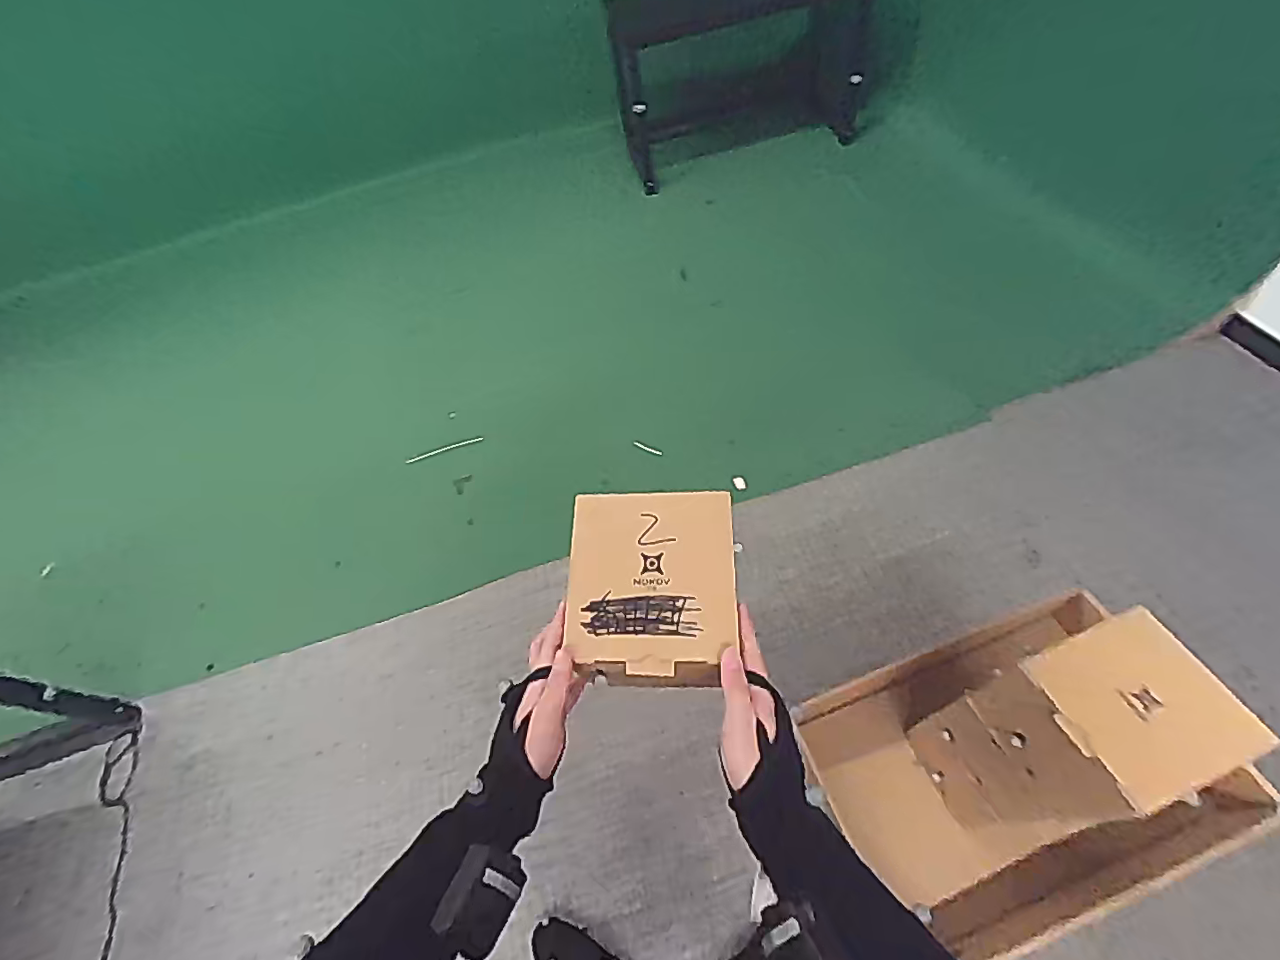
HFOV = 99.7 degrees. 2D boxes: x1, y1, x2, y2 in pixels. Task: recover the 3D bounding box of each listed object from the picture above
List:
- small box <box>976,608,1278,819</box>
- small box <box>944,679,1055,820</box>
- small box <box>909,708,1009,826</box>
[{"bbox_3d":[0.559,0.286,0.655,0.179,0.176,0.168,-22,56,-7],"label":"small box"},{"bbox_3d":[0.581,0.374,0.789,0.179,0.176,0.168,-20,55,-8],"label":"small box"},{"bbox_3d":[0.600,0.467,0.923,0.179,0.176,0.168,-19,54,-6],"label":"small box"}]
